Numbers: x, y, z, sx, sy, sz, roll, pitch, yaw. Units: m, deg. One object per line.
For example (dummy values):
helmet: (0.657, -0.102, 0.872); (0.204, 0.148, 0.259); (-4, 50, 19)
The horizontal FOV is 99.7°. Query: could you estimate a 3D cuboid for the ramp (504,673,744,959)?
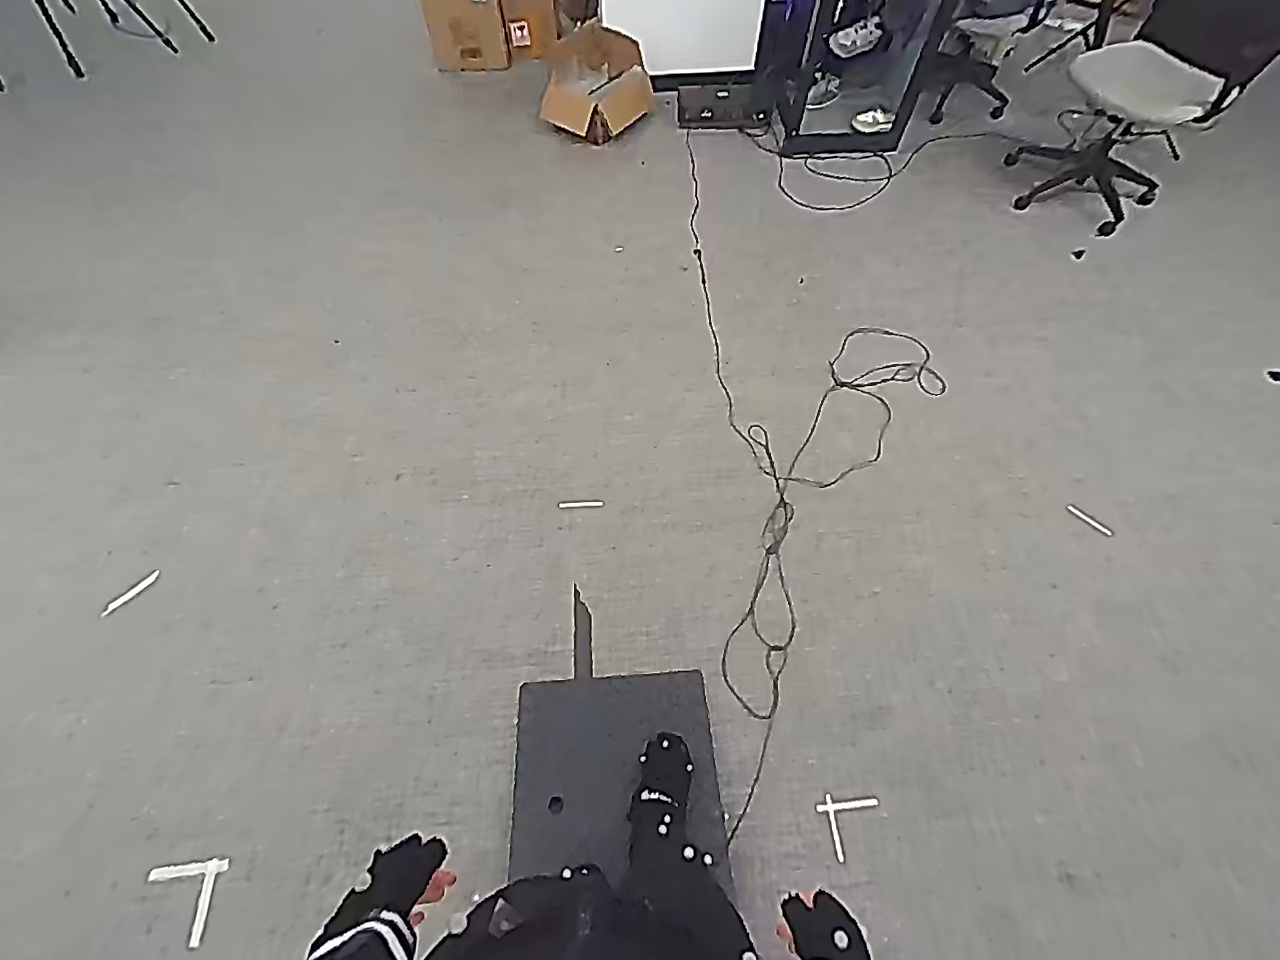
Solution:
ramp: (-0.039, 0.922, 1.144); (0.509, 0.206, 0.991); (-6, 60, -2)
